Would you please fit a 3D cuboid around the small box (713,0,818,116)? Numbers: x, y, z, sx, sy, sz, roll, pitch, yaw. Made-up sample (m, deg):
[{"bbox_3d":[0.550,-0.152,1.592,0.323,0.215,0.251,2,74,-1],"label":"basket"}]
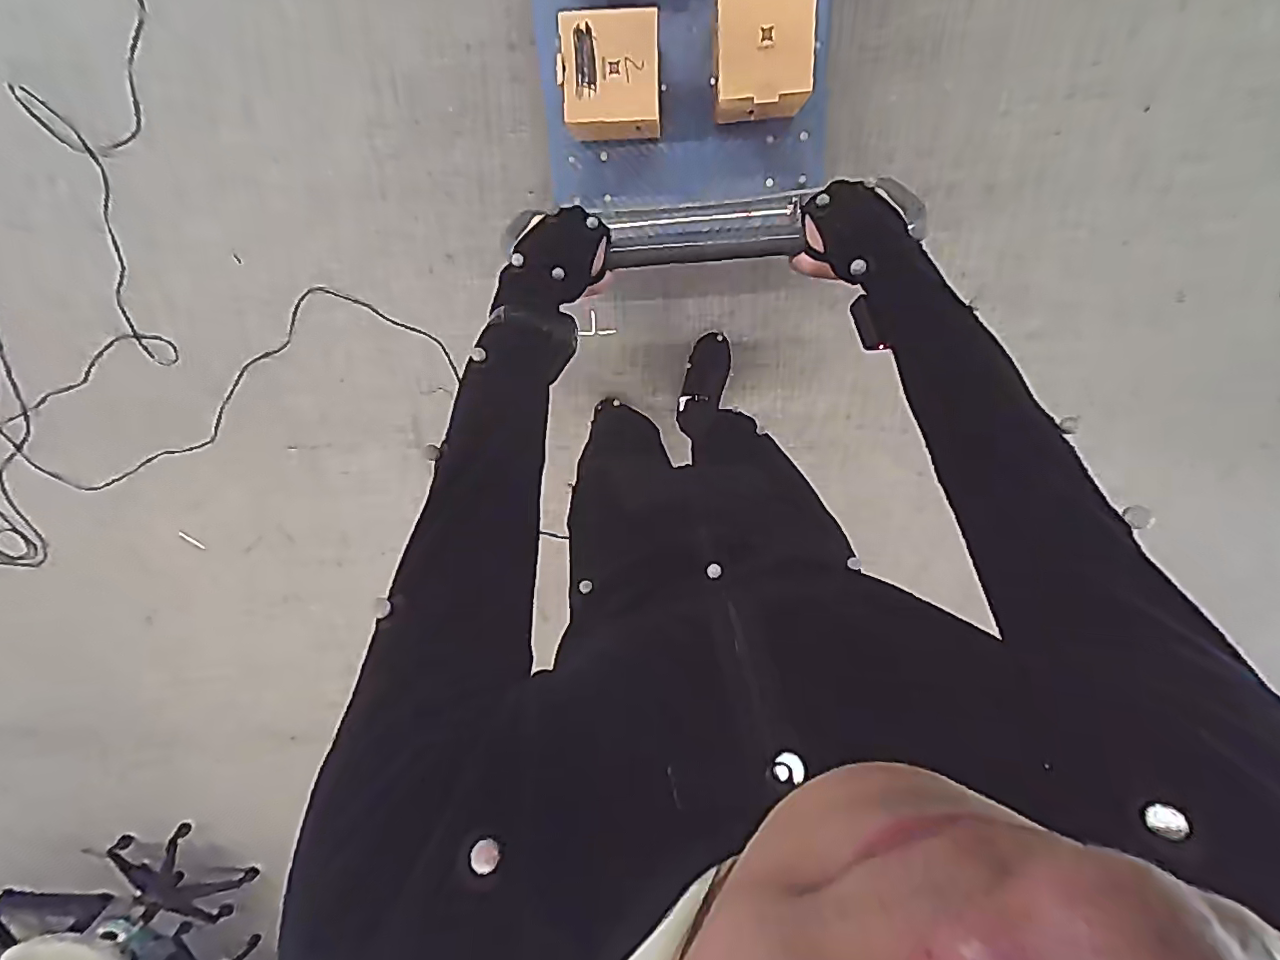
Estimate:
[{"bbox_3d":[0.225,-0.802,1.001,0.168,0.176,0.179,-3,113,5],"label":"small box"}]
